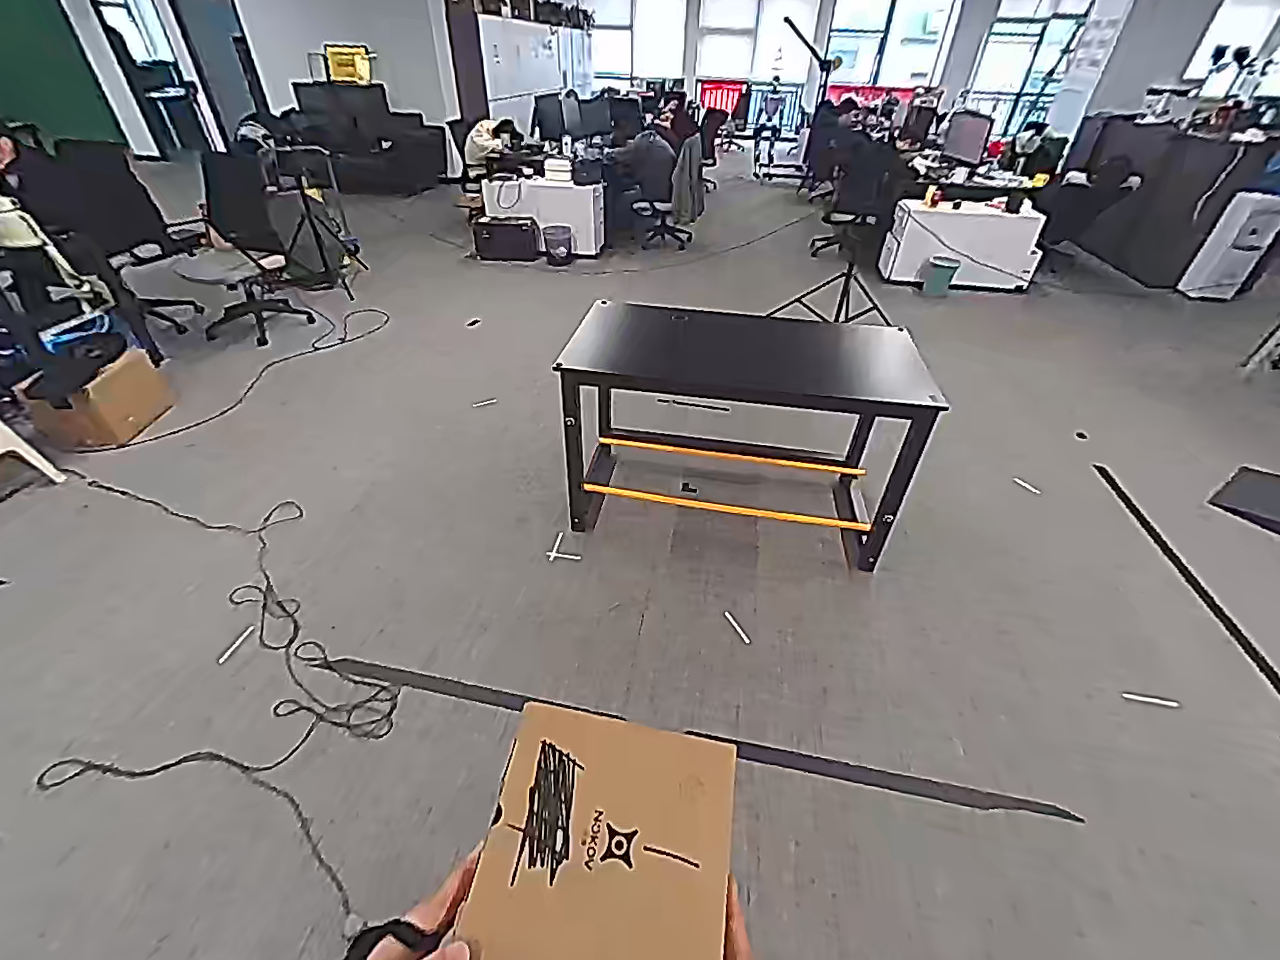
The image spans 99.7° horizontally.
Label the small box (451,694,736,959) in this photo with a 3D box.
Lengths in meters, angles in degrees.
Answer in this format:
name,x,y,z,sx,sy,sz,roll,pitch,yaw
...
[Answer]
name,x,y,z,sx,sy,sz,roll,pitch,yaw
small box,-0.027,0.303,0.449,0.179,0.176,0.168,11,50,4
